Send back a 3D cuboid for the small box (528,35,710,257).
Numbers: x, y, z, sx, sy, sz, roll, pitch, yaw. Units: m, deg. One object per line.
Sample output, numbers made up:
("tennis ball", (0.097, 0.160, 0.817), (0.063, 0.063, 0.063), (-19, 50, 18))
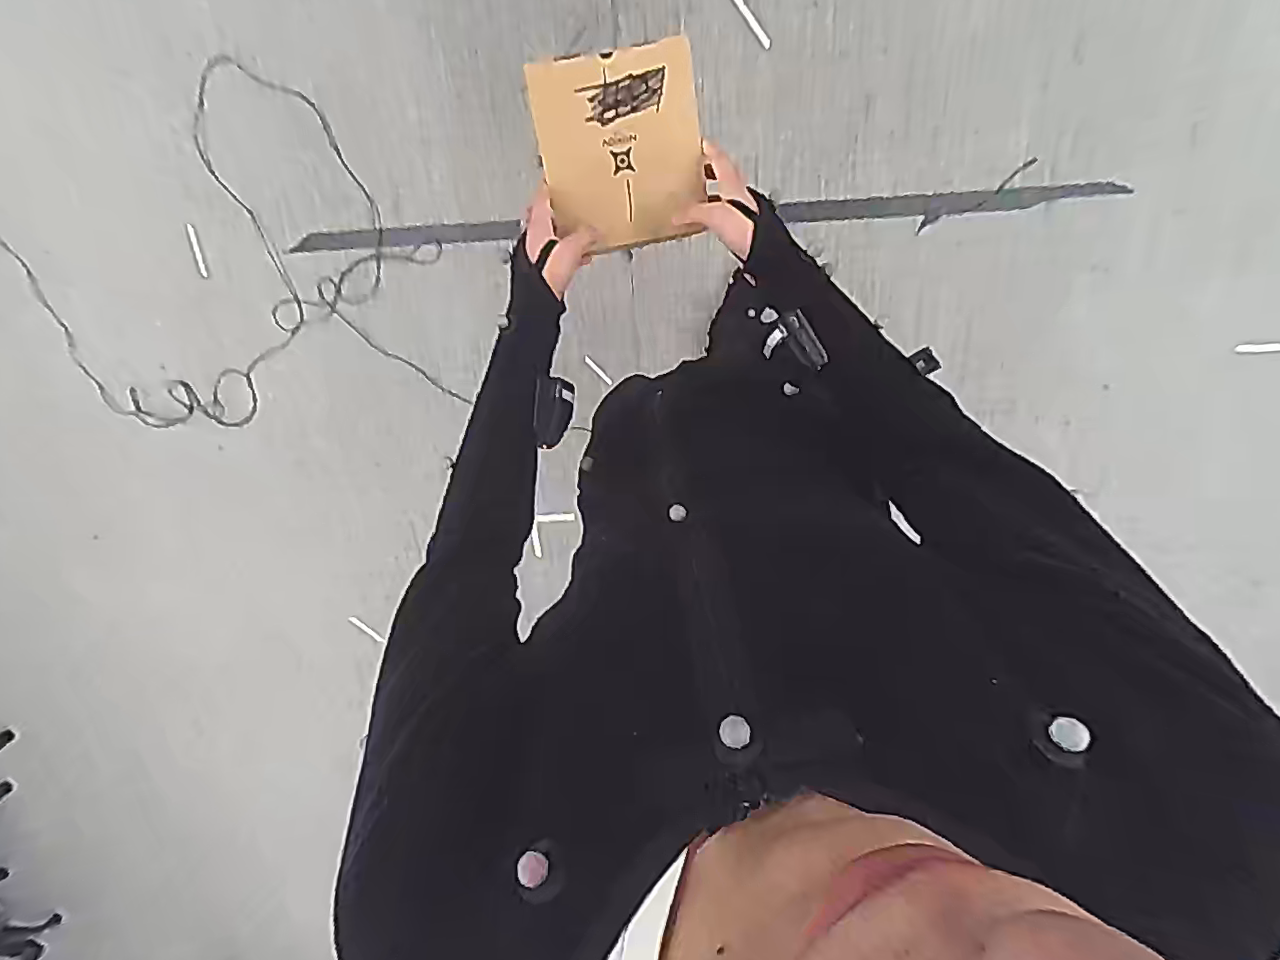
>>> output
("small box", (-0.024, -0.366, 0.627), (0.168, 0.176, 0.179), (-11, 112, -1))
